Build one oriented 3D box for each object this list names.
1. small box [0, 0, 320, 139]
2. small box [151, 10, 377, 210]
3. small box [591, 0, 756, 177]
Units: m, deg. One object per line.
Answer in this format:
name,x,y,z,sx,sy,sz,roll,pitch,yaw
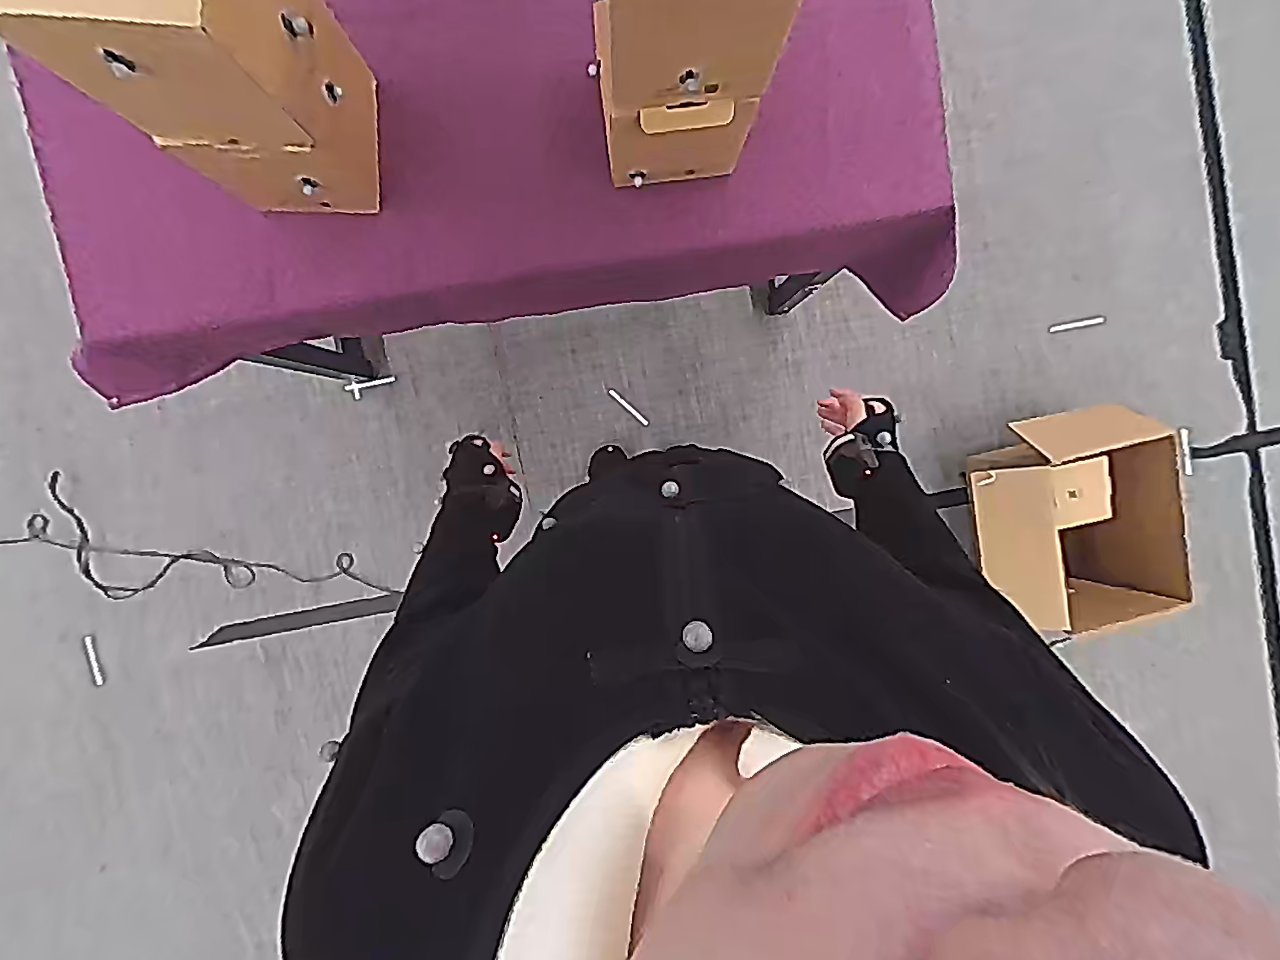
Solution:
small box,-0.417,-0.431,0.476,0.179,0.176,0.168,2,95,-3
small box,-0.429,-0.441,0.640,0.168,0.176,0.179,1,94,-3
small box,0.033,-0.490,0.650,0.168,0.176,0.179,-8,94,-1
